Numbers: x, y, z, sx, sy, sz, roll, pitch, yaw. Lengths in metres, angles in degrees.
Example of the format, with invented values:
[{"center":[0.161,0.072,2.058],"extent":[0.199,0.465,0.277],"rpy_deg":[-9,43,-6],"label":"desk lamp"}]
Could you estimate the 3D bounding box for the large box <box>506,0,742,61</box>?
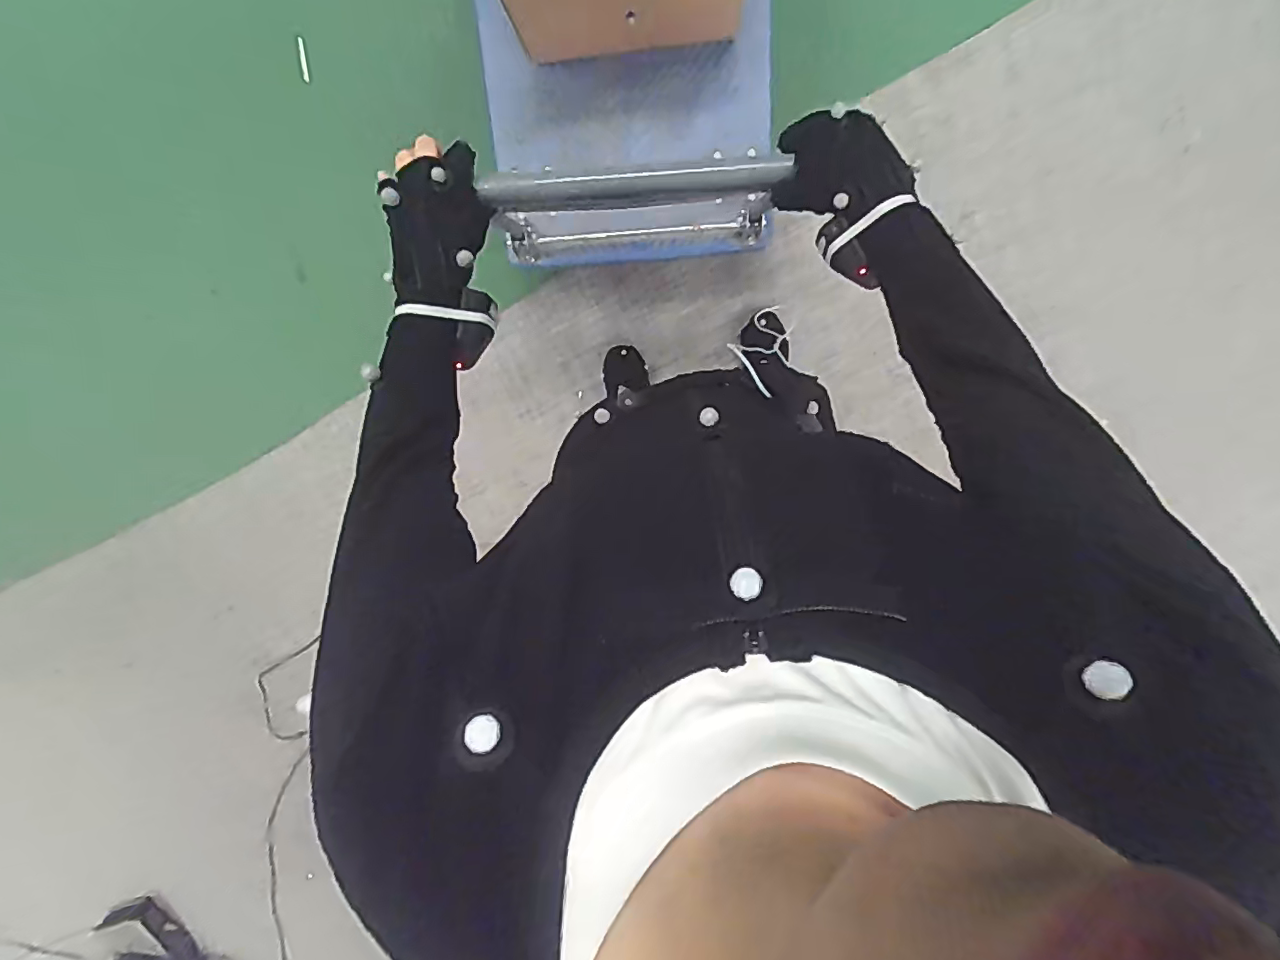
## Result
[{"center":[-0.035,-0.959,0.886],"extent":[0.408,0.320,0.320],"rpy_deg":[-5,105,4],"label":"large box"}]
